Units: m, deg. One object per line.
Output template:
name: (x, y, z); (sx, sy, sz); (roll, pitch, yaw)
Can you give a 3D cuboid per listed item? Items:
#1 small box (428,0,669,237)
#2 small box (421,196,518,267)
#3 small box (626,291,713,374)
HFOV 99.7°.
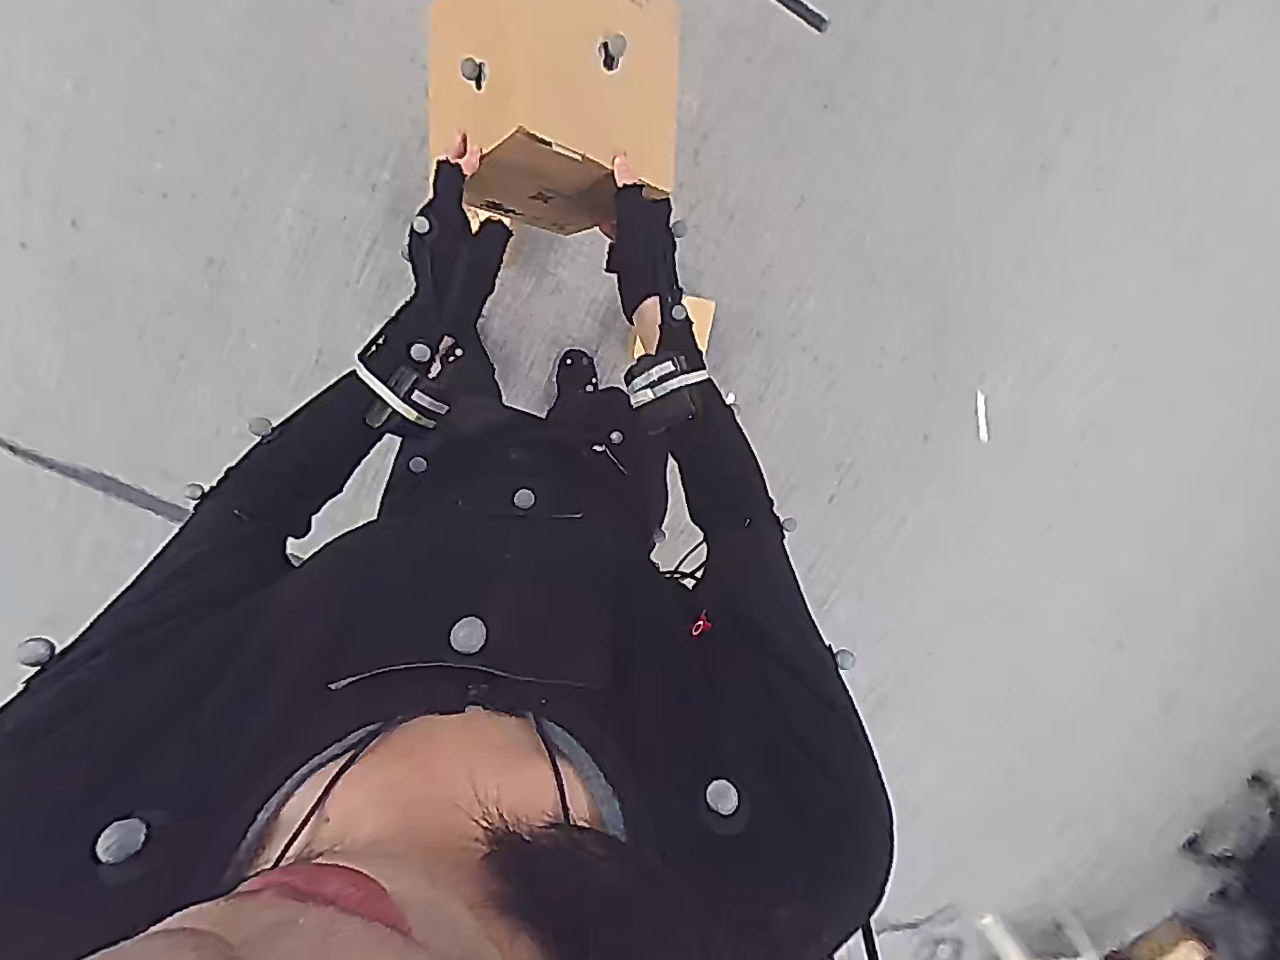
small box: (-0.090, -0.355, 0.509); (0.168, 0.179, 0.176); (-3, 97, -43)
small box: (-0.381, -0.606, 1.252); (0.179, 0.176, 0.168); (15, 102, -9)
small box: (0.065, -0.367, 1.363); (0.179, 0.176, 0.168); (9, 104, -9)
